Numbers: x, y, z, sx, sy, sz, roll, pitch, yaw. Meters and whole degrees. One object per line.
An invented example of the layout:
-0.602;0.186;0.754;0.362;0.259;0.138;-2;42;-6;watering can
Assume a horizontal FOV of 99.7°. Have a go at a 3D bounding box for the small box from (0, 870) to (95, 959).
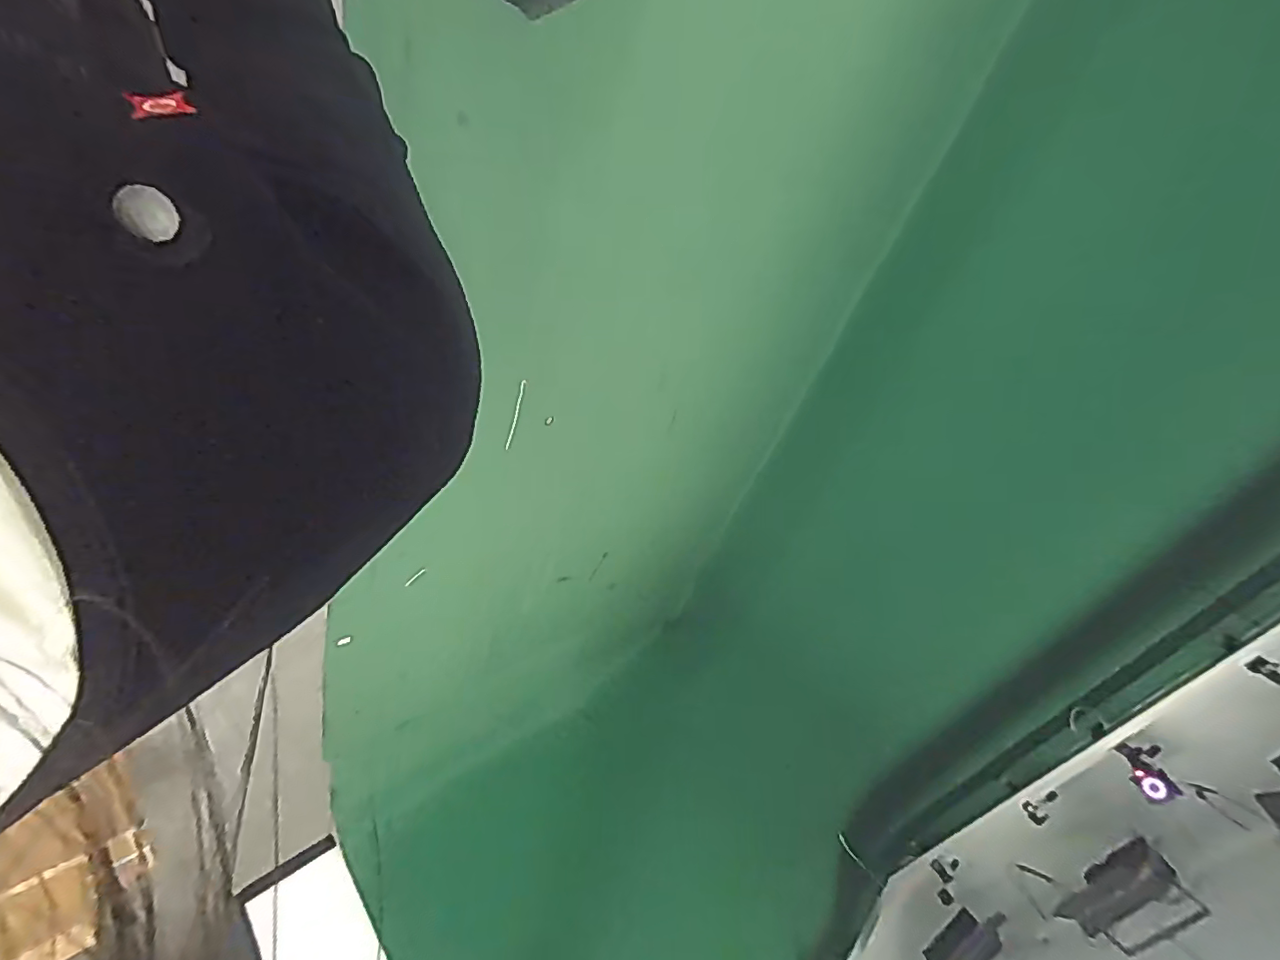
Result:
-1.657;1.234;1.493;0.179;0.176;0.168;-15;136;-44;small box
